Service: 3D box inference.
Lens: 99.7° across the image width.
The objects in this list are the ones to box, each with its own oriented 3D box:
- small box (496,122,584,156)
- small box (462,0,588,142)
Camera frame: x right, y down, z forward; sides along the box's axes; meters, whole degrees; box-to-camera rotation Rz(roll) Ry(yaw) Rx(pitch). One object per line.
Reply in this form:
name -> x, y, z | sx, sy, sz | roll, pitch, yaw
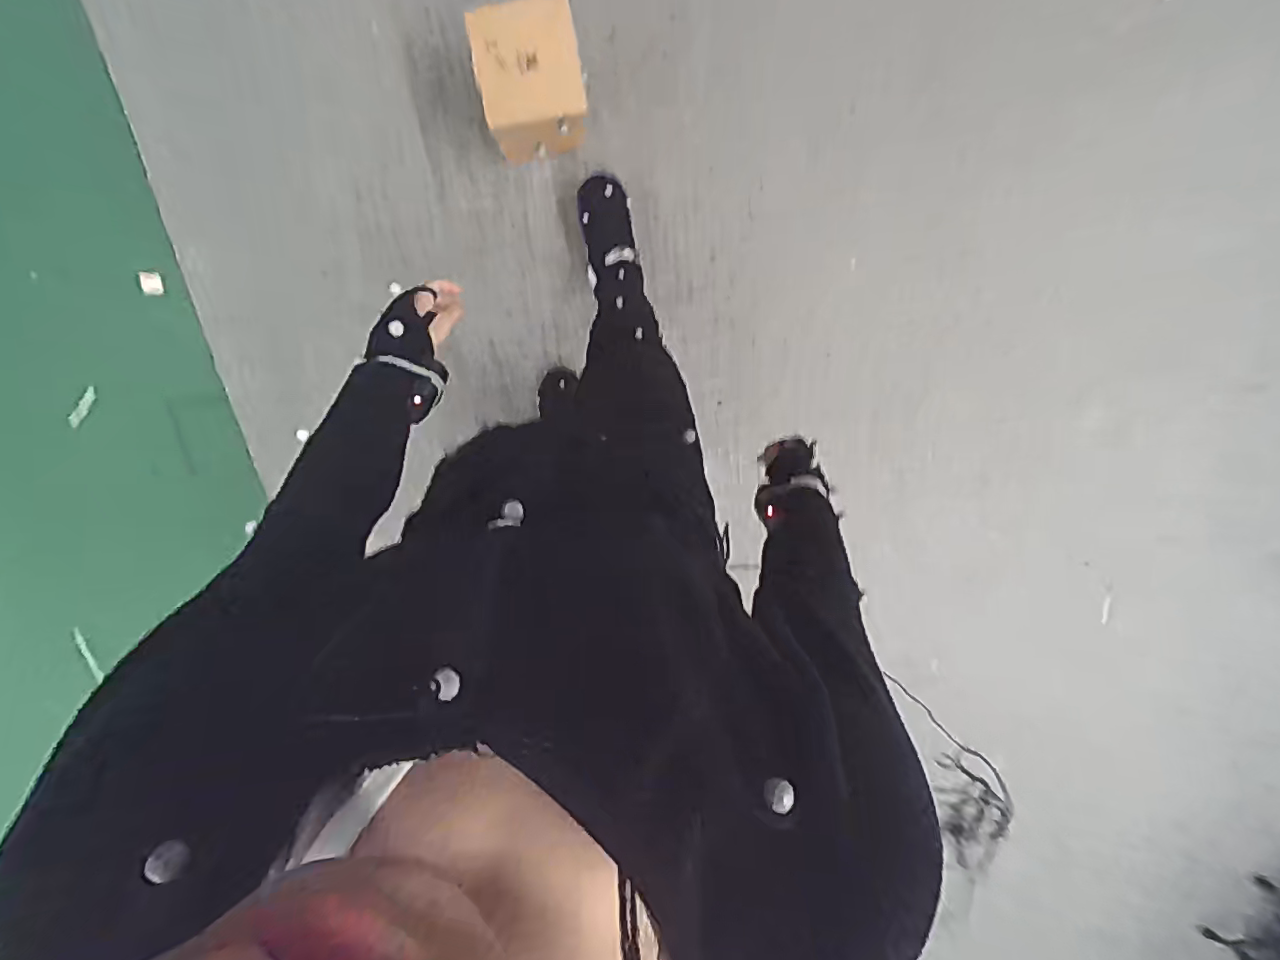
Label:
small box -> -0.216, -0.782, 1.108 | 0.179, 0.176, 0.168 | -10, 113, -1
small box -> -0.193, -0.719, 0.957 | 0.179, 0.176, 0.168 | -10, 113, -1
